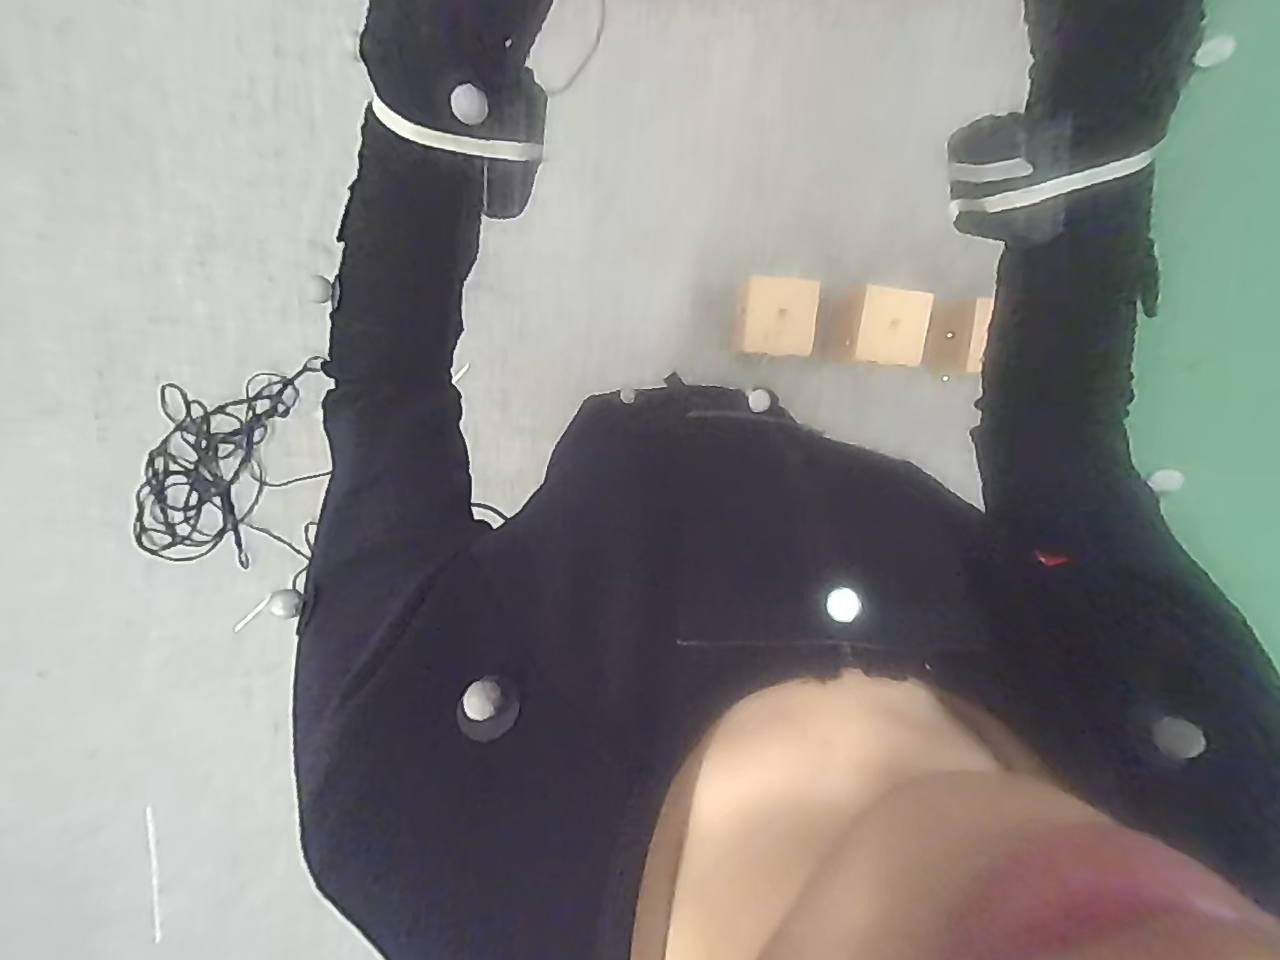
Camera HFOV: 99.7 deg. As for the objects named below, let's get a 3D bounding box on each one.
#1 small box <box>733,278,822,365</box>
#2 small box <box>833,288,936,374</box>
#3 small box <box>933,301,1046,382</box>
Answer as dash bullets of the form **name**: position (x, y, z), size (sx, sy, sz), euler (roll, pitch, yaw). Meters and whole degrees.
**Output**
- **small box**: position (0.331, -0.385, 1.336), size (0.168, 0.176, 0.179), euler (5, 99, -1)
- **small box**: position (0.599, -0.364, 1.348), size (0.168, 0.176, 0.179), euler (6, 98, -2)
- **small box**: position (0.866, -0.341, 1.357), size (0.168, 0.176, 0.179), euler (3, 98, -2)
